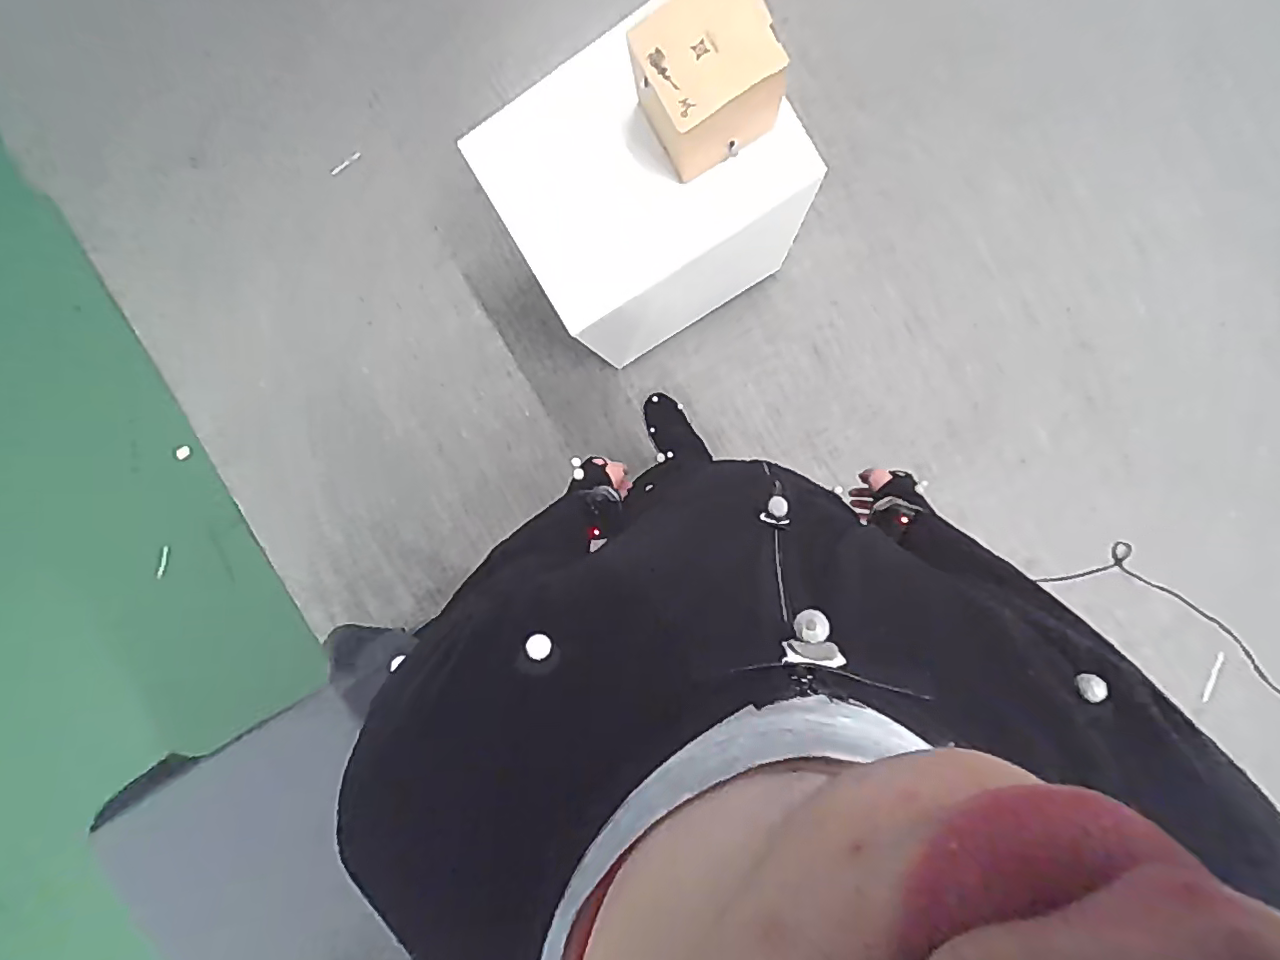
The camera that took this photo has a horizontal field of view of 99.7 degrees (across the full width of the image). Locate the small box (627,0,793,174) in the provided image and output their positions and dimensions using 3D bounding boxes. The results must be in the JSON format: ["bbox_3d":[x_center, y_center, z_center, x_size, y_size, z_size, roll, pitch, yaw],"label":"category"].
[{"bbox_3d":[0.099,-0.606,0.808,0.179,0.176,0.168,-29,93,8],"label":"small box"}]
